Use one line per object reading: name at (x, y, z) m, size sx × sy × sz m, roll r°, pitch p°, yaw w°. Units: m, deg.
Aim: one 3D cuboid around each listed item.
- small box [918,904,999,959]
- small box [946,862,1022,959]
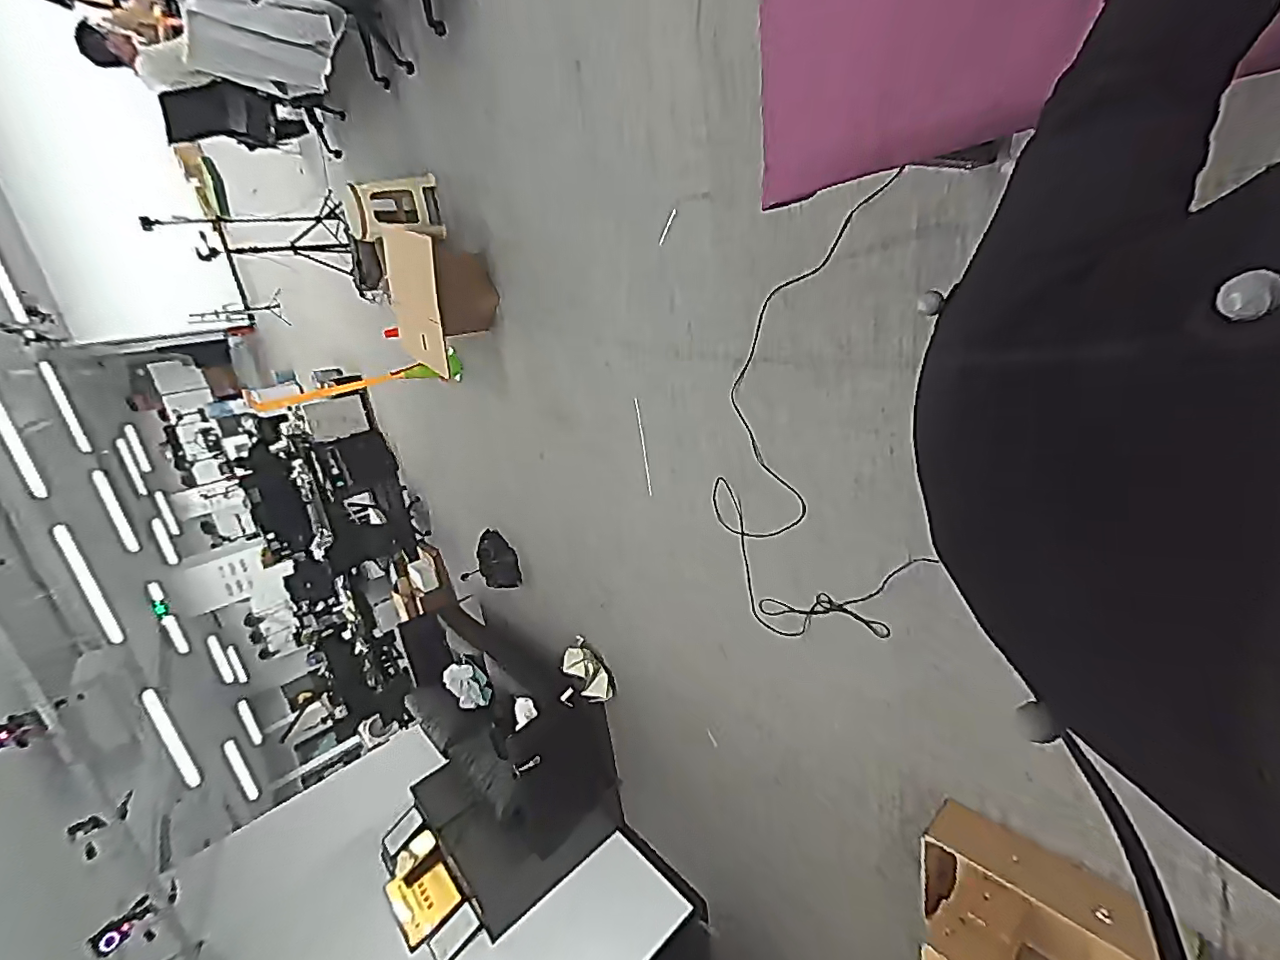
small box at (0.935, 1.414, 1.589) m, size 0.168 × 0.176 × 0.179 m, roll 11°, pitch 117°, yaw 47°
small box at (1.076, 1.356, 1.689) m, size 0.168 × 0.176 × 0.179 m, roll 4°, pitch 112°, yaw 48°
